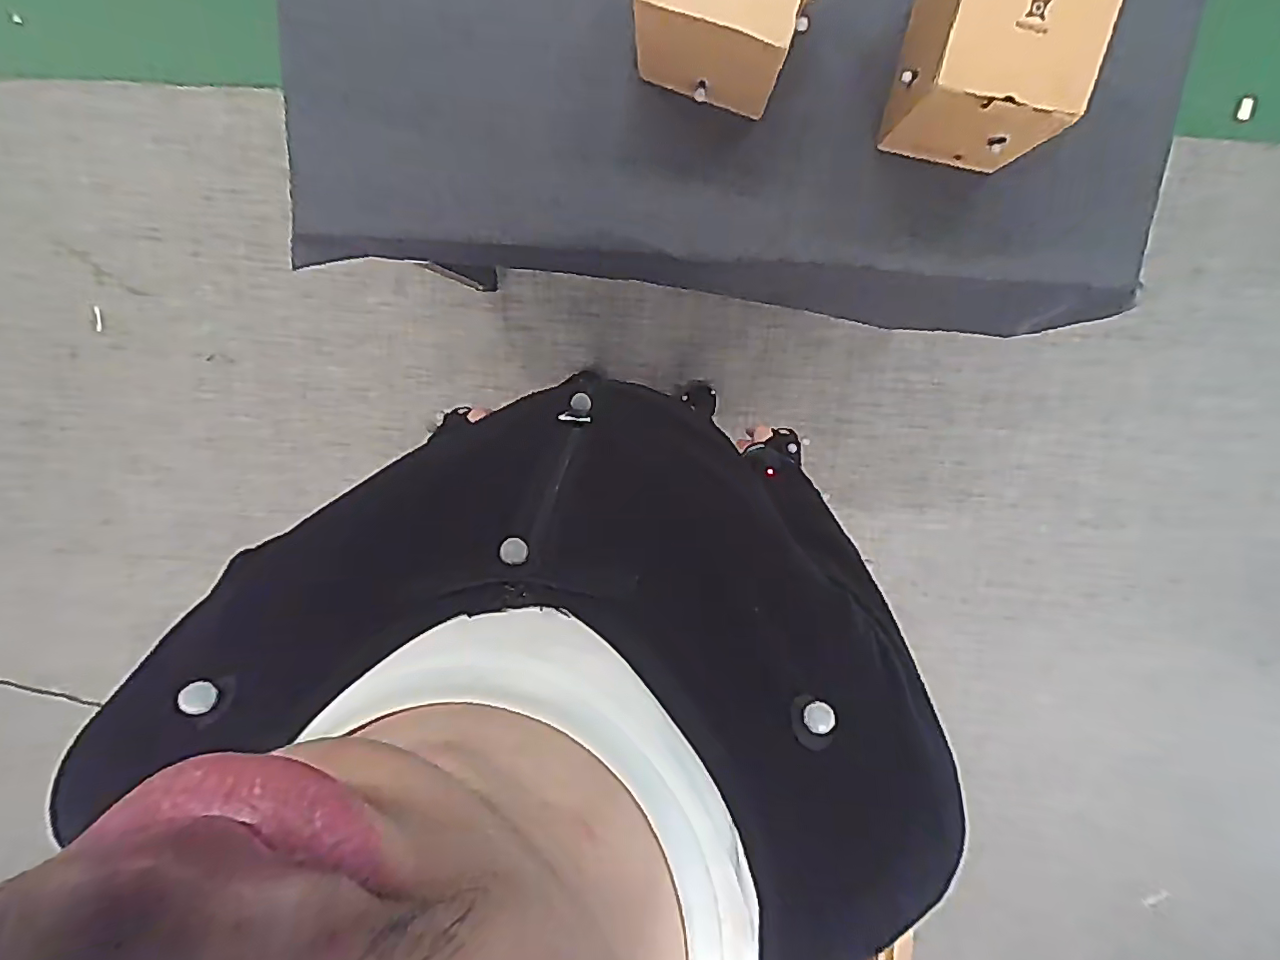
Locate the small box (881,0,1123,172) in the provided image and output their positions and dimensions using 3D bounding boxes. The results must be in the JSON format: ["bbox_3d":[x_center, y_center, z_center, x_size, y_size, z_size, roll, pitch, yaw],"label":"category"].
[{"bbox_3d":[0.414,-0.498,0.642,0.168,0.176,0.179,12,100,-2],"label":"small box"}]

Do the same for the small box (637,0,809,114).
[{"bbox_3d":[0.105,-0.573,0.637,0.179,0.176,0.168,18,100,-2],"label":"small box"}]
